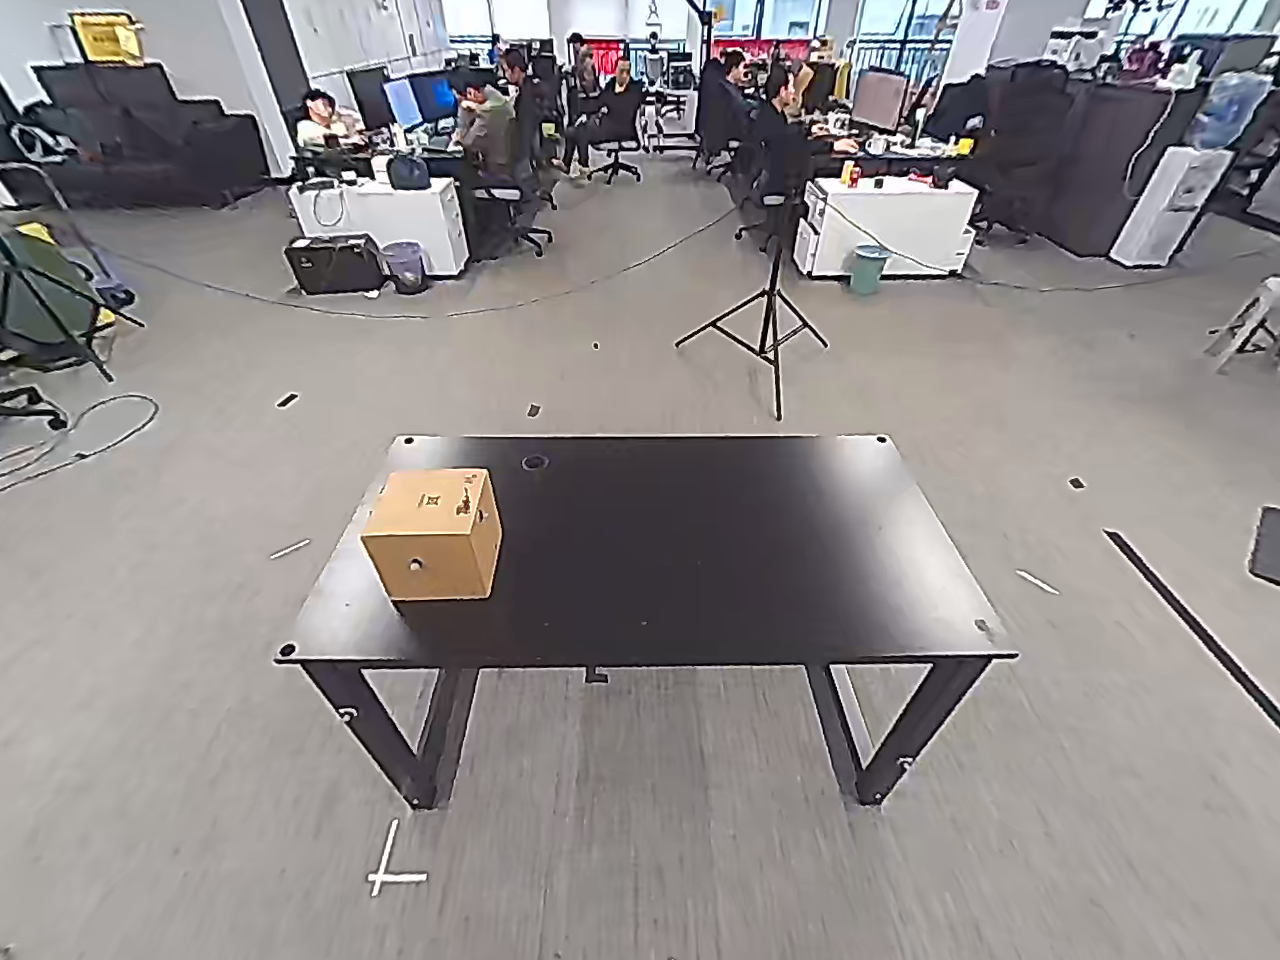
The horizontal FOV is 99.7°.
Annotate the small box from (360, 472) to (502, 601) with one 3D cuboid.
[{"bbox_3d":[-0.360,0.103,0.969,0.179,0.176,0.168,-2,41,-2],"label":"small box"}]
